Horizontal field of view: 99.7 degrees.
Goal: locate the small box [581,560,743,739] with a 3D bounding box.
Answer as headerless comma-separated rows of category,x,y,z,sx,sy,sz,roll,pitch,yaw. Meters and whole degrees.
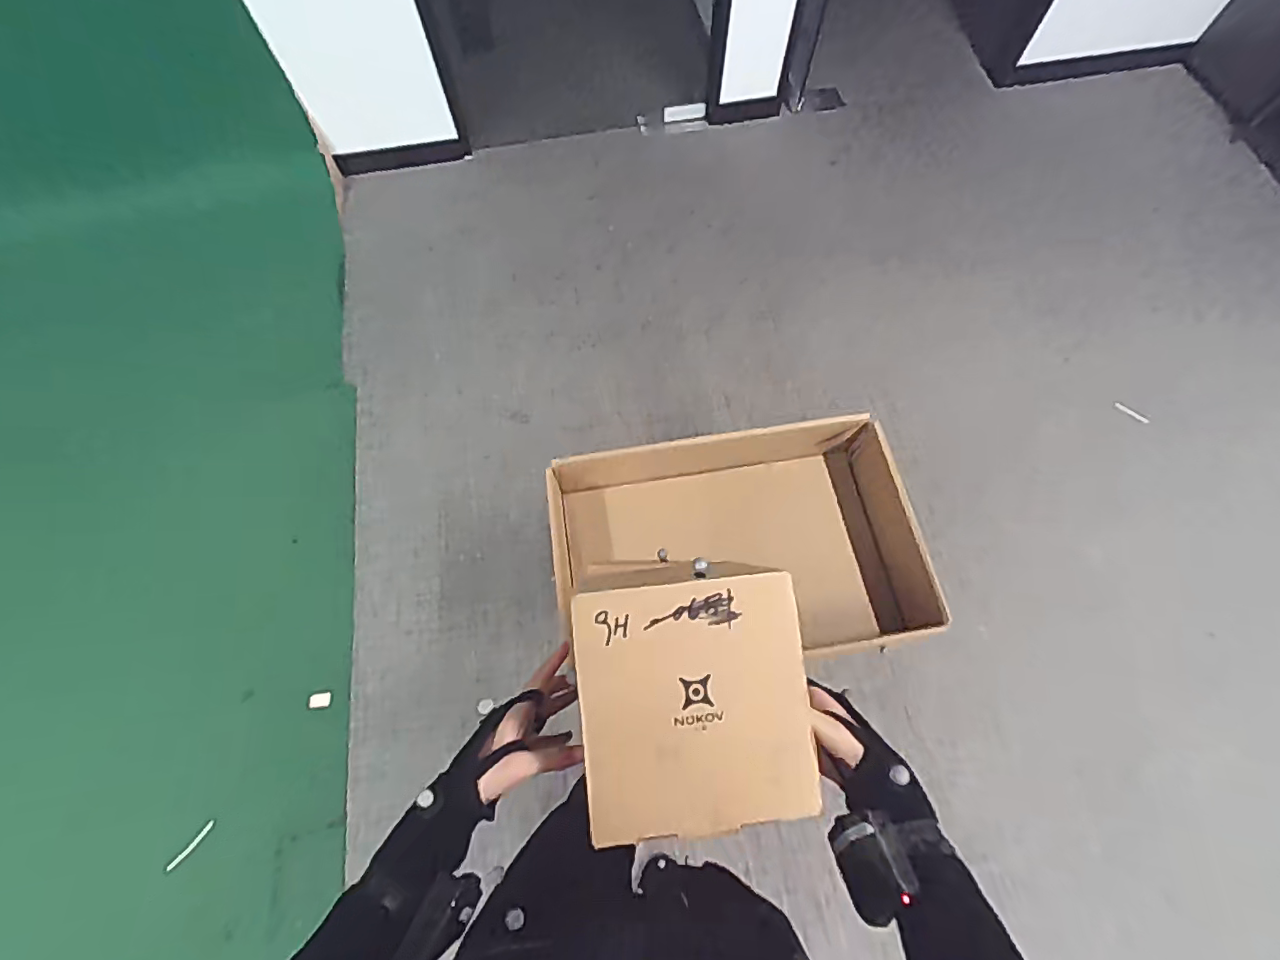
small box,0.018,0.183,0.628,0.168,0.176,0.179,0,83,-3
